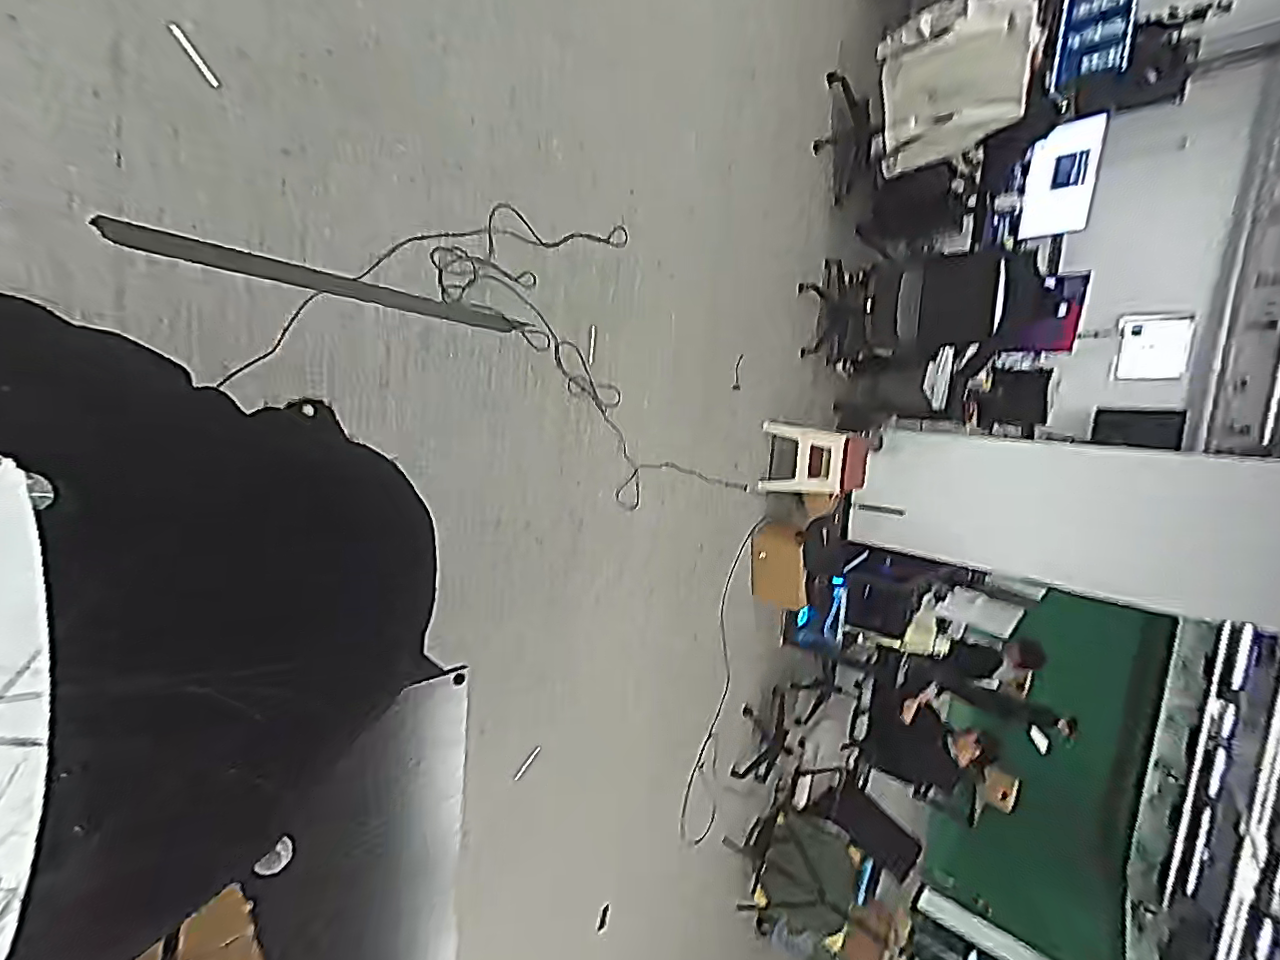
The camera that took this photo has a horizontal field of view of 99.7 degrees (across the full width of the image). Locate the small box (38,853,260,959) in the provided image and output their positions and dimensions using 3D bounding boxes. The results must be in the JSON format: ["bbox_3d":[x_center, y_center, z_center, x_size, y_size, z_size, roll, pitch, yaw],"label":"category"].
[{"bbox_3d":[-0.544,0.567,0.607,0.168,0.176,0.179,-9,104,-47],"label":"small box"}]
